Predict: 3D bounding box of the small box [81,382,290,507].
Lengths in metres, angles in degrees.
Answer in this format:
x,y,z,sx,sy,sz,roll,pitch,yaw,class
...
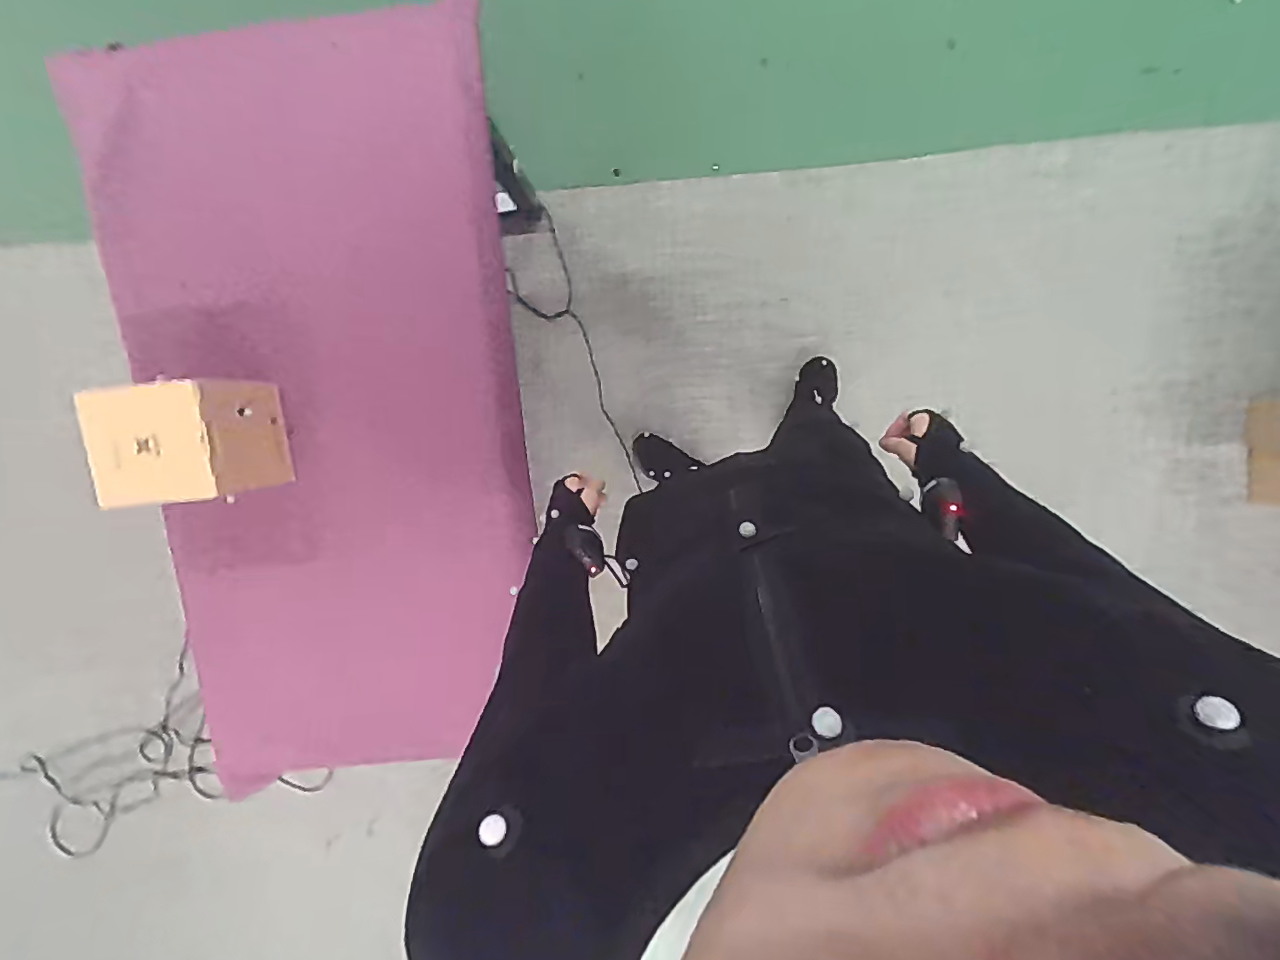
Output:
x,y,z,sx,sy,sz,roll,pitch,yaw,class
-0.675,-0.059,0.832,0.179,0.176,0.168,-6,97,3,small box
